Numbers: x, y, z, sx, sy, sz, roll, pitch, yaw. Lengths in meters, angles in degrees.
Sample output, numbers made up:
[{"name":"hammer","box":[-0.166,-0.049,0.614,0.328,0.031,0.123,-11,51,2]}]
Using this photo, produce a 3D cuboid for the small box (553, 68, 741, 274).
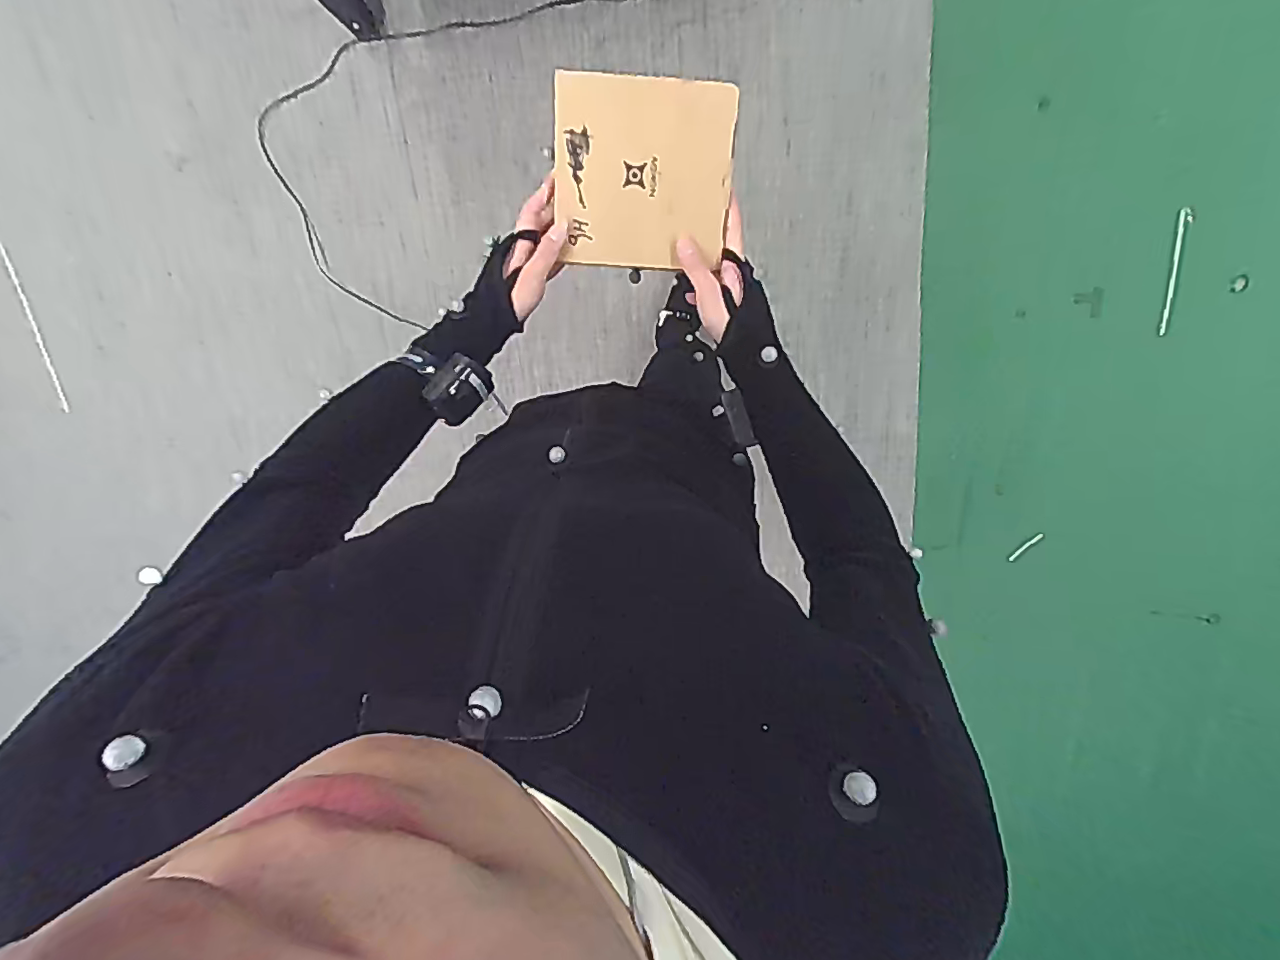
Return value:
[{"name":"small box","box":[-0.001,-0.324,0.602,0.179,0.176,0.168,3,110,-4]}]
